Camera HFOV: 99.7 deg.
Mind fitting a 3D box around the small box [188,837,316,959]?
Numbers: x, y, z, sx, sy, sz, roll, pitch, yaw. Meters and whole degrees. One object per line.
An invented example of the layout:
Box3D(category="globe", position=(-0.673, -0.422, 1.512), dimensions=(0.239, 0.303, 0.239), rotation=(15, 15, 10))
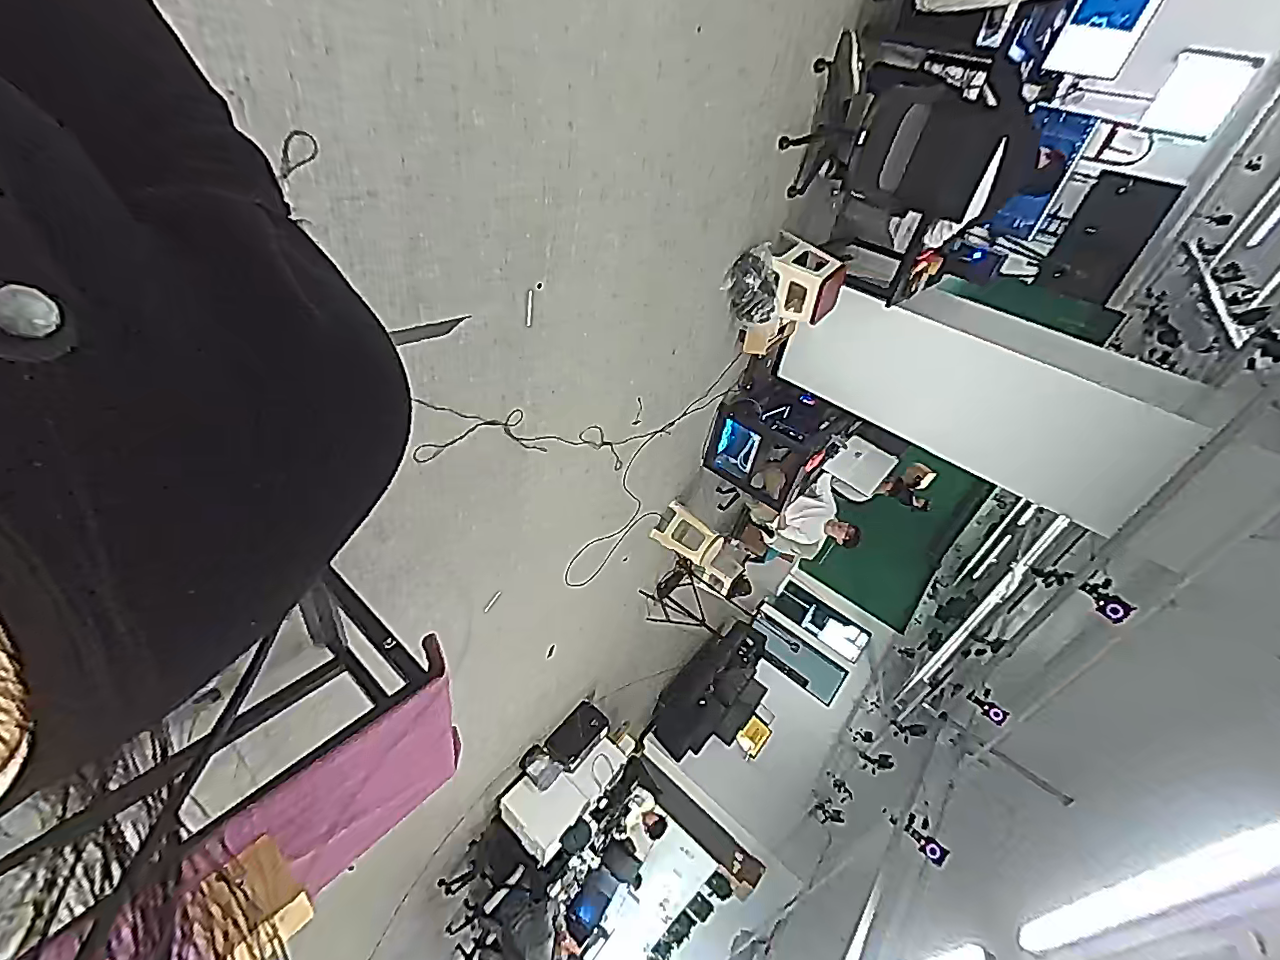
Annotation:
Box3D(category="small box", position=(-0.853, 0.942, 1.197), dimensions=(0.168, 0.176, 0.179), rotation=(-32, 146, -45))
